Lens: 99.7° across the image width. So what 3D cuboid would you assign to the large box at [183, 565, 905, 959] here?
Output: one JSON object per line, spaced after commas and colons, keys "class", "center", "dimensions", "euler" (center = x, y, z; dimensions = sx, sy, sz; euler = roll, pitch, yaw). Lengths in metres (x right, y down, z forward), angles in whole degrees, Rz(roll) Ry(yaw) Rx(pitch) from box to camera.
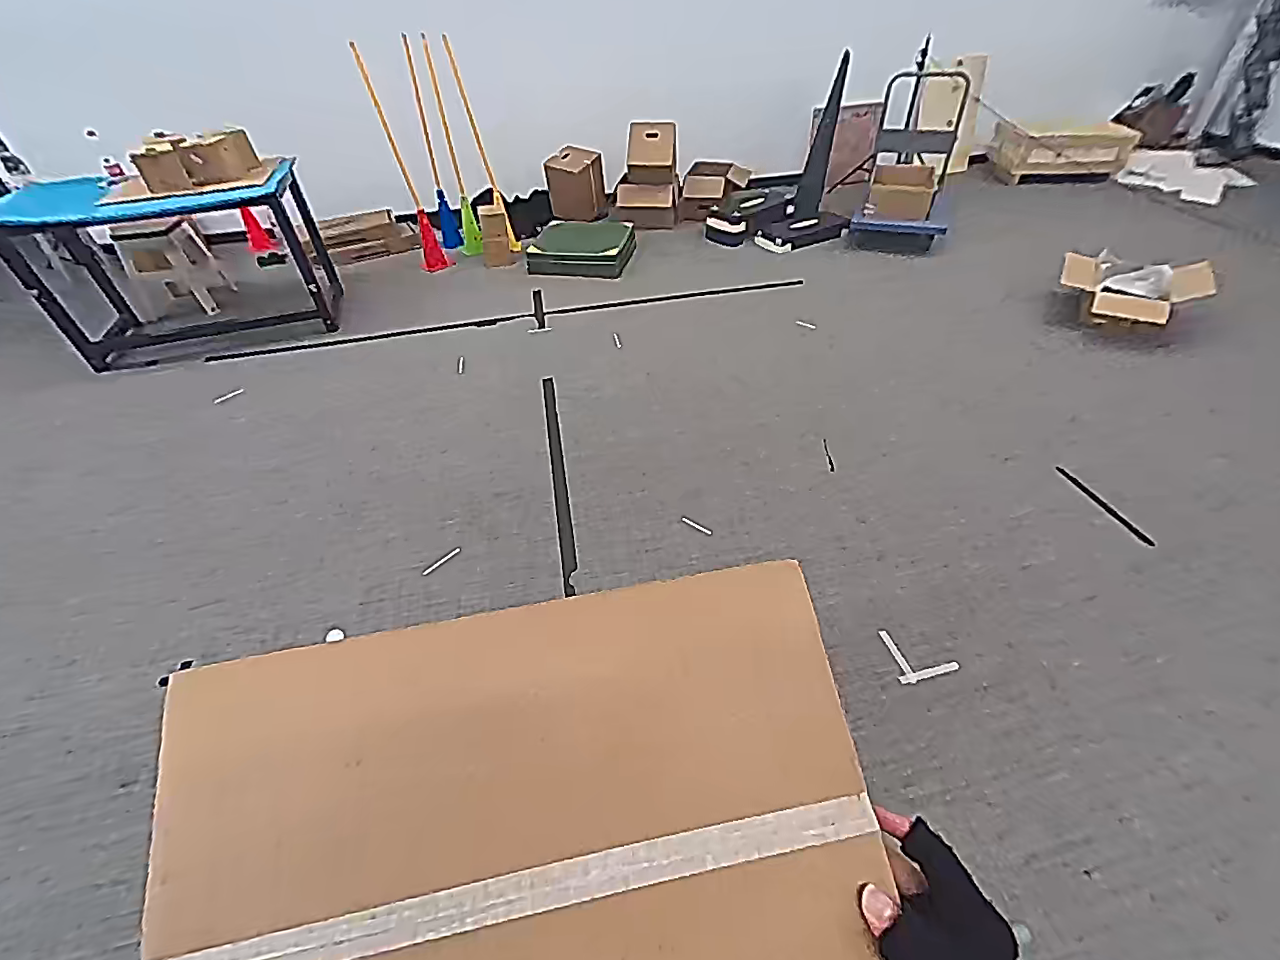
{"class": "large box", "center": [-0.064, 0.286, 0.454], "dimensions": [0.408, 0.320, 0.320], "euler": [-9, 71, -5]}
